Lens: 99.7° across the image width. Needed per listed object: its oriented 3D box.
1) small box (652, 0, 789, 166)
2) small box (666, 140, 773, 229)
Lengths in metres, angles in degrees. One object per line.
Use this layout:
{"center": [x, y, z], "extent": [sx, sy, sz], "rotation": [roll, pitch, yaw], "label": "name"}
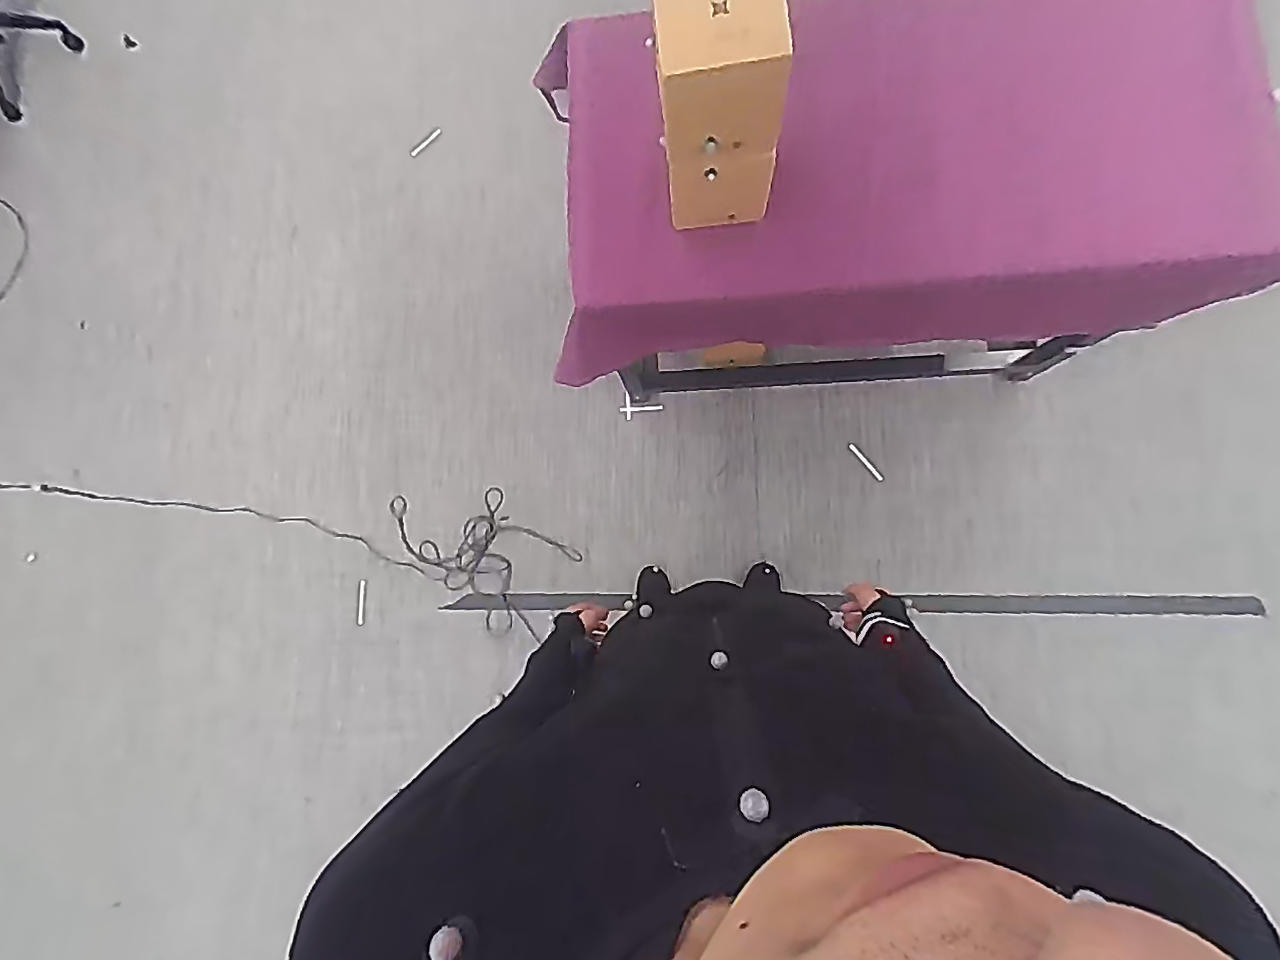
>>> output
{"center": [0.105, -0.587, 0.762], "extent": [0.168, 0.176, 0.179], "rotation": [-5, 82, 5], "label": "small box"}
{"center": [0.127, -0.563, 0.922], "extent": [0.168, 0.176, 0.179], "rotation": [-4, 82, 6], "label": "small box"}
